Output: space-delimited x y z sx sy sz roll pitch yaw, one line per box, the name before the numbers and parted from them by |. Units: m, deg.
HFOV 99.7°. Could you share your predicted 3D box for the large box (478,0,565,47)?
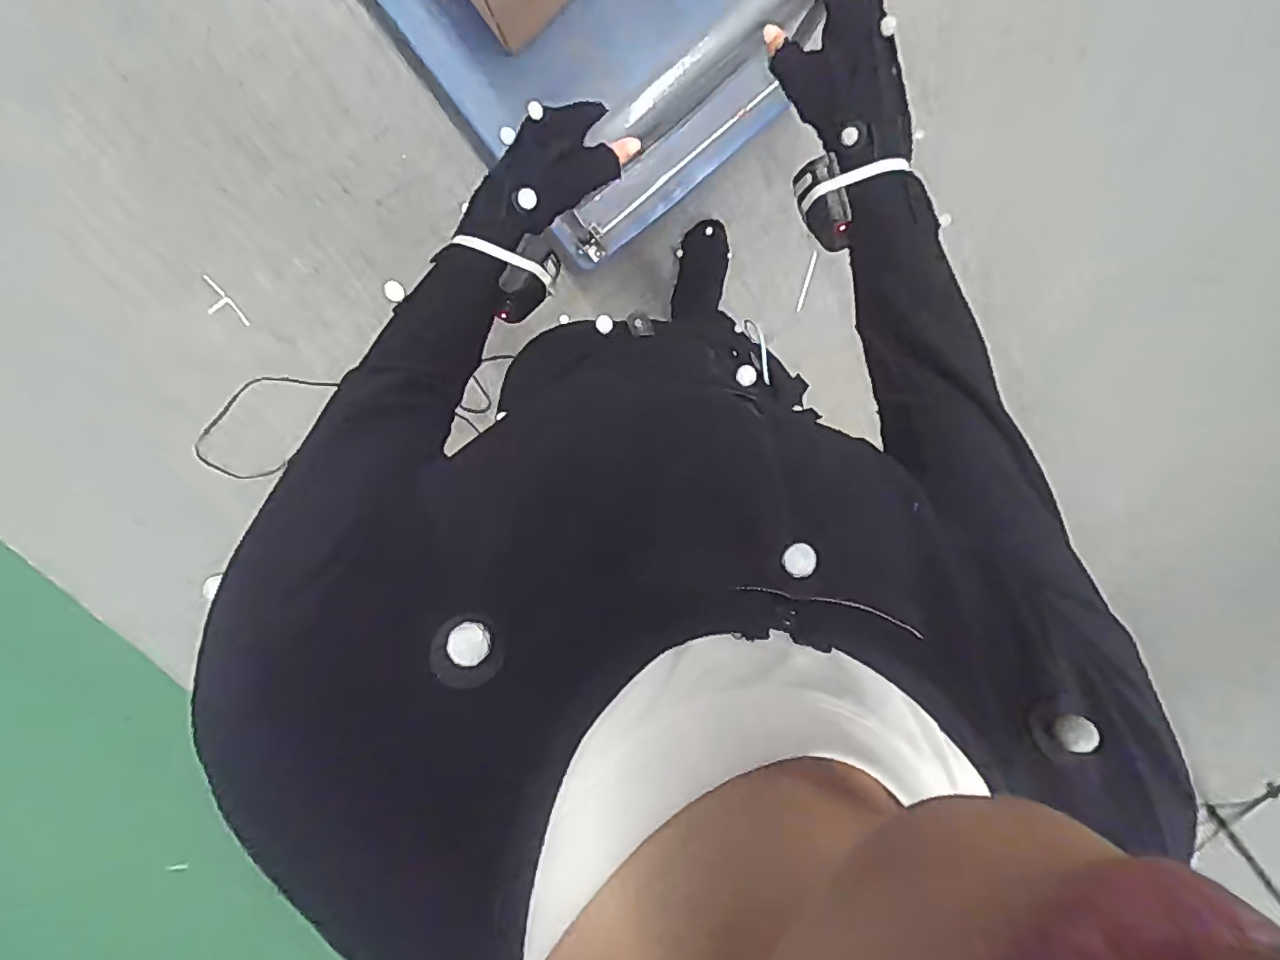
large box | -0.165 -0.959 0.771 0.408 0.320 0.320 -38 108 13
